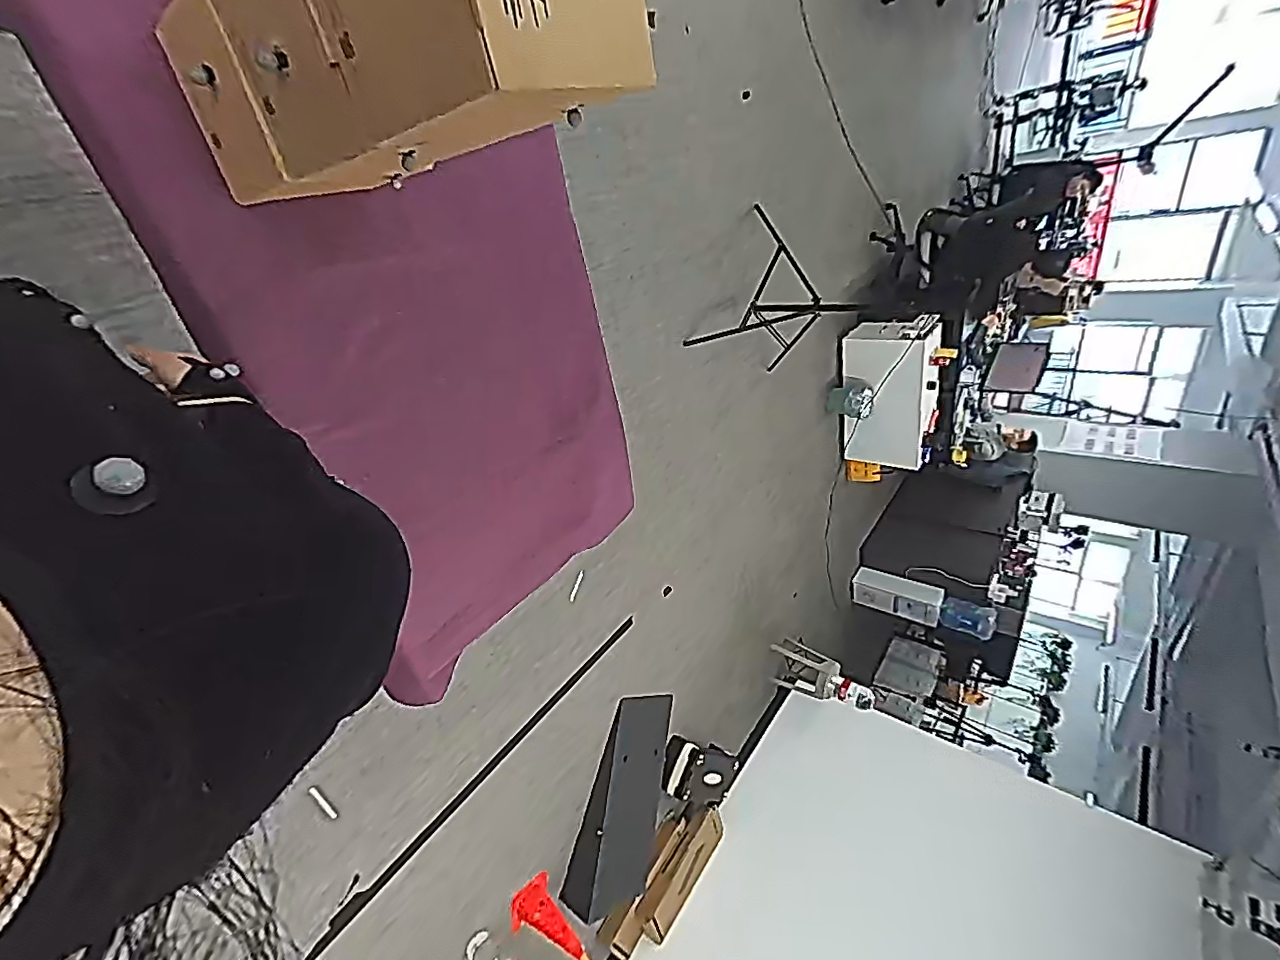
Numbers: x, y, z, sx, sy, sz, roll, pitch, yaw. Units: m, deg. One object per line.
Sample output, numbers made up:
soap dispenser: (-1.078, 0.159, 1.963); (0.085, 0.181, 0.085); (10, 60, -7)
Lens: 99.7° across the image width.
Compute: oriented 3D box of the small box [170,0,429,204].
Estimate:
small box: (-0.380, -0.420, 0.607); (0.179, 0.176, 0.168); (-38, 128, -40)

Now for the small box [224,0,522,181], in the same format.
small box: (-0.250, -0.395, 0.510); (0.179, 0.176, 0.168); (-40, 130, -38)
